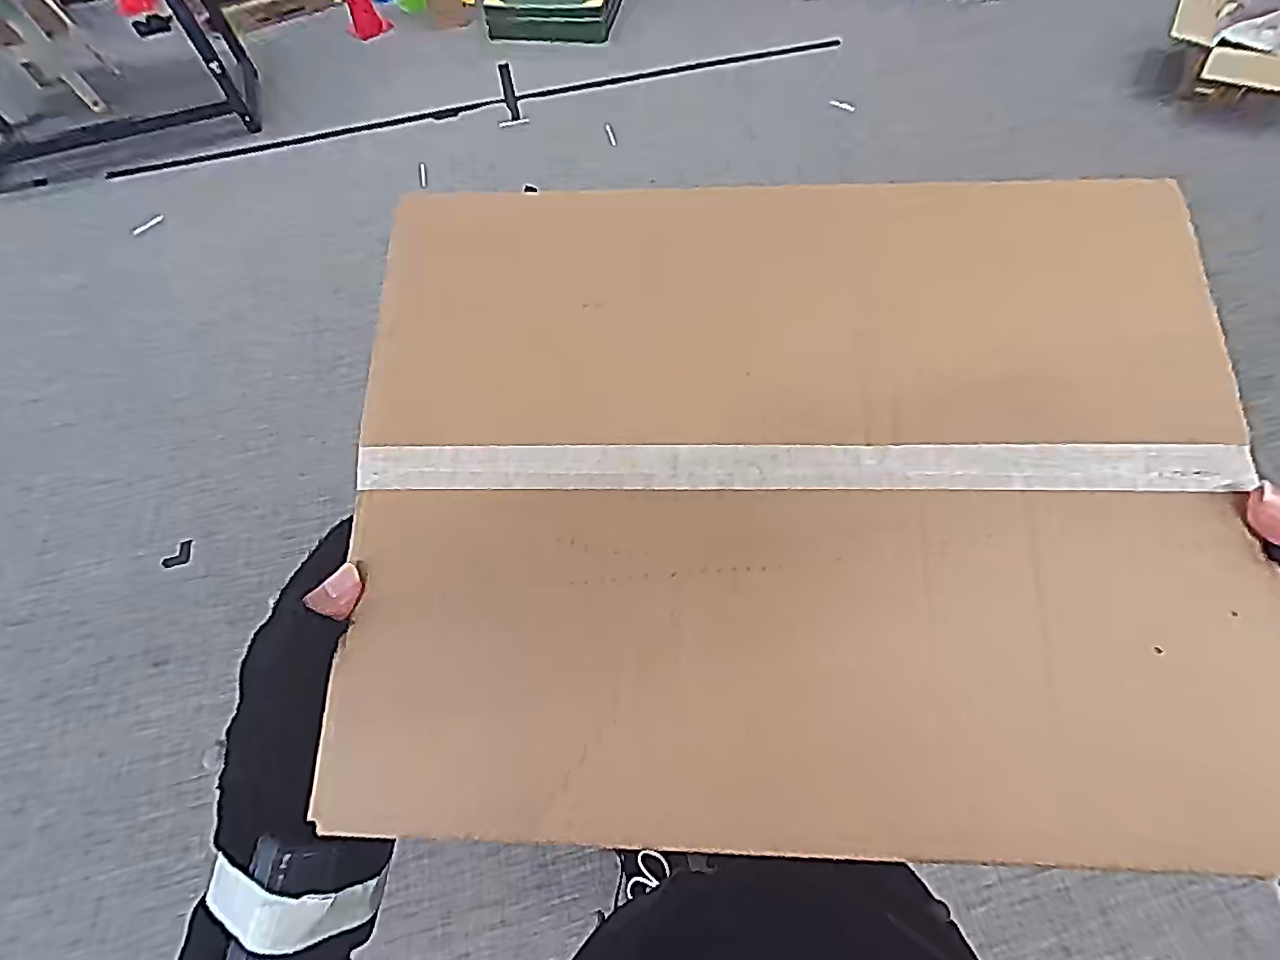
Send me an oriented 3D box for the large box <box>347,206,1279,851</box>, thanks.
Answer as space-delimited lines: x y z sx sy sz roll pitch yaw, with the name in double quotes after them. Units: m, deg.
0.075 0.039 0.406 0.408 0.320 0.320 0 77 3 "large box"
